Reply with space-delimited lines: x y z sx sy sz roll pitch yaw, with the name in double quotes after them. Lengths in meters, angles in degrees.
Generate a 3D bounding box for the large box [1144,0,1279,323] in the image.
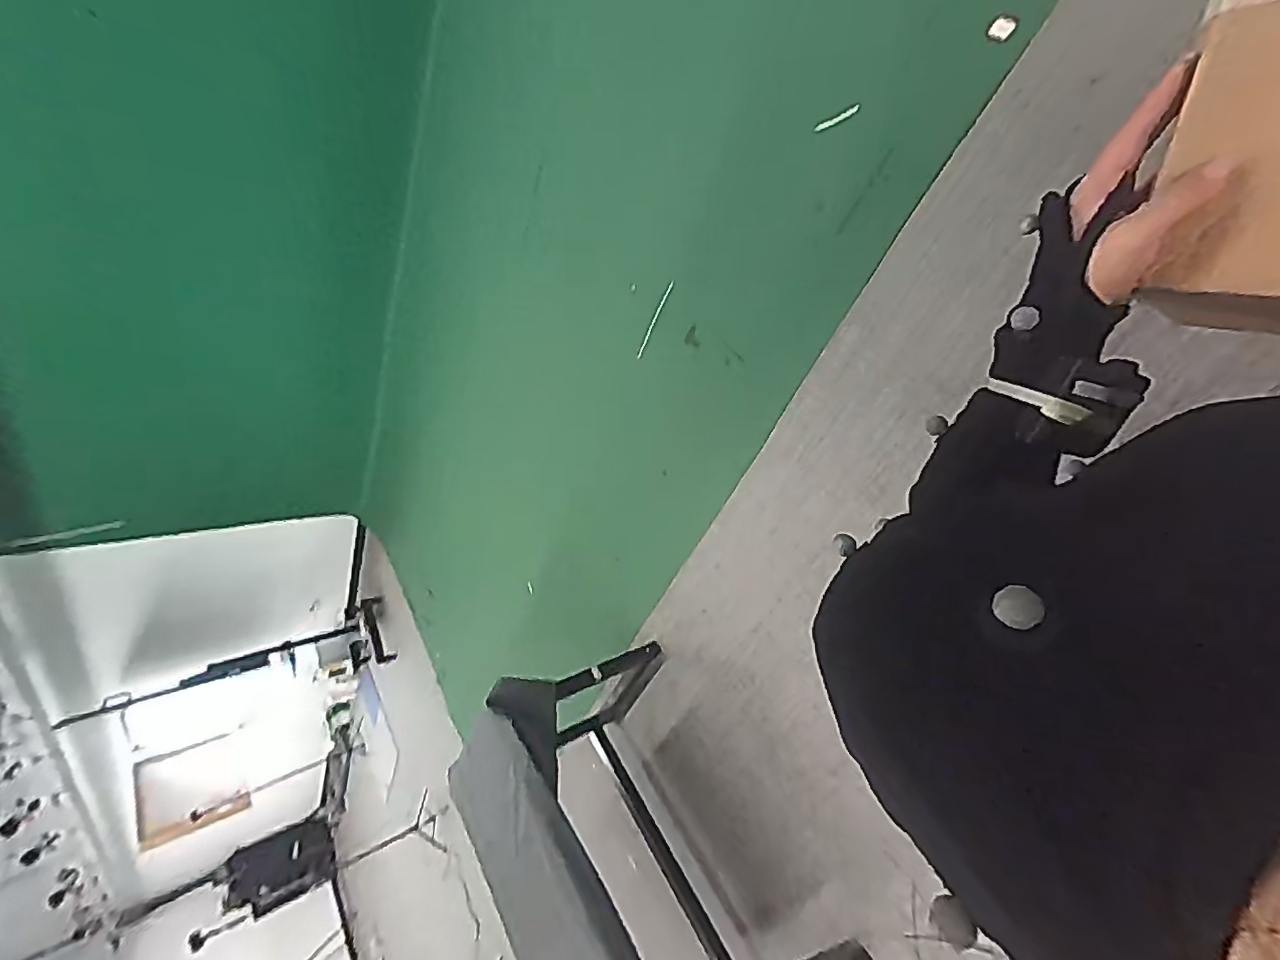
0.573 -0.241 0.265 0.408 0.320 0.320 23 114 44 "large box"
